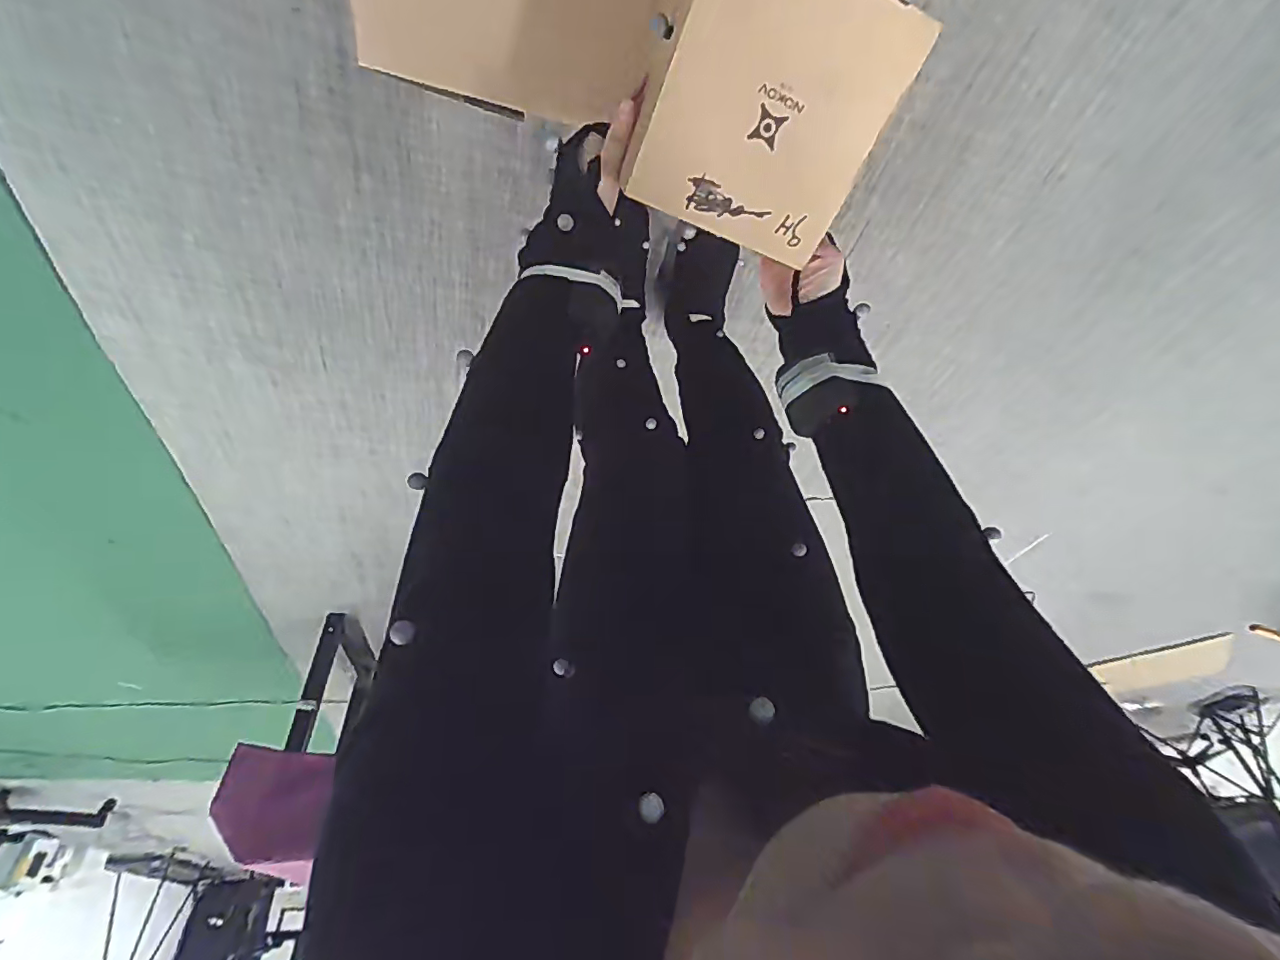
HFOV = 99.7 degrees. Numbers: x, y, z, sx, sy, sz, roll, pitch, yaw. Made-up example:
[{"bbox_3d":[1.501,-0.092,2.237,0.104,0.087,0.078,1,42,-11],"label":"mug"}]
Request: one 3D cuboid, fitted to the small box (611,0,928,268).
[{"bbox_3d":[0.081,-0.312,0.446,0.168,0.176,0.179,15,126,-19],"label":"small box"}]
